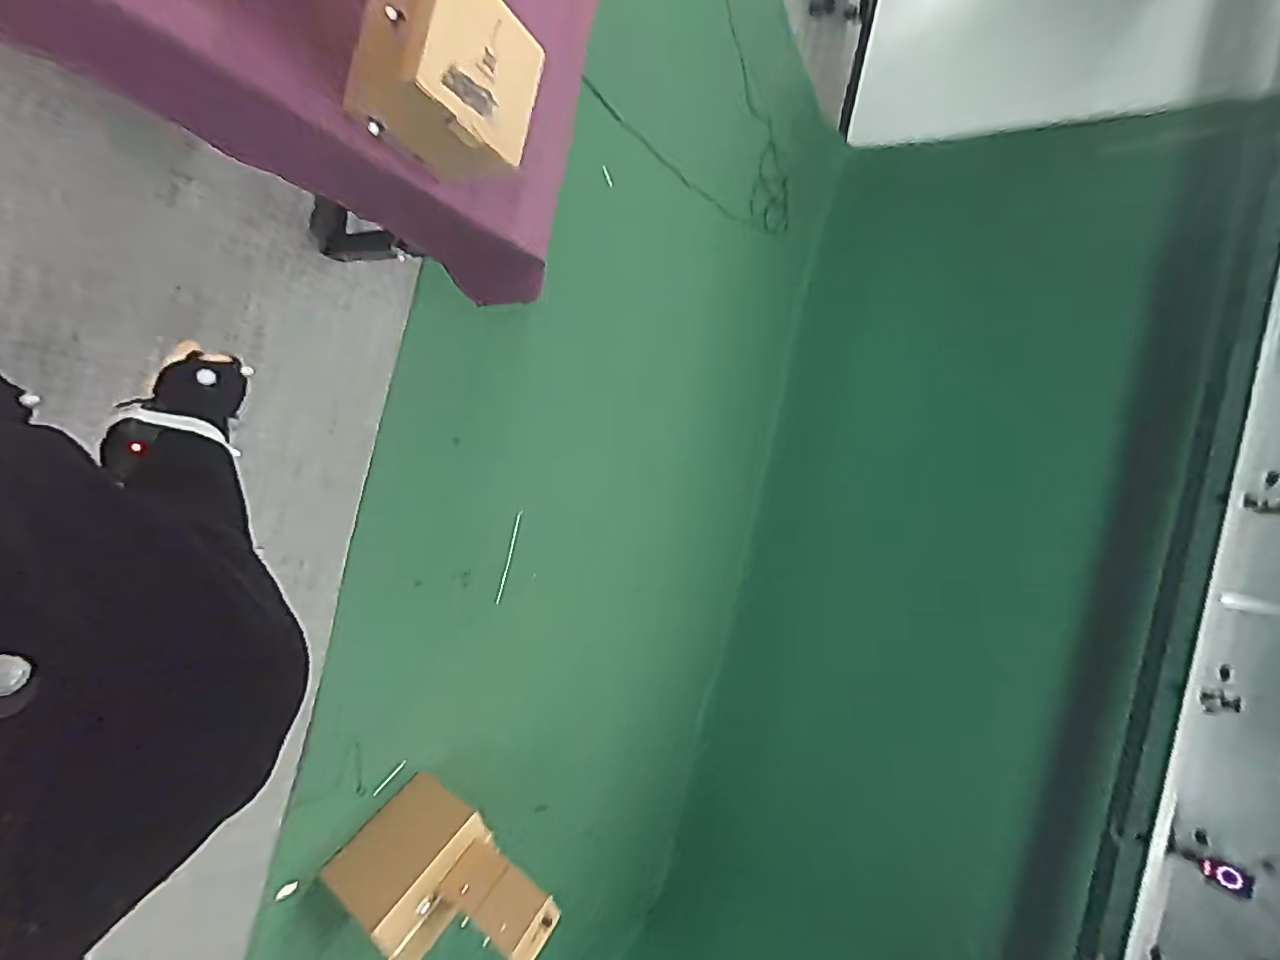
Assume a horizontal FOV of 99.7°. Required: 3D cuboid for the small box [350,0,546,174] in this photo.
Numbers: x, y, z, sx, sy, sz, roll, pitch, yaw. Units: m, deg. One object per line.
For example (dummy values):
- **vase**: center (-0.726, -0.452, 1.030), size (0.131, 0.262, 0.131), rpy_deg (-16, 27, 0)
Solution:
- **small box**: center (-0.260, -0.548, 0.732), size (0.168, 0.176, 0.179), rpy_deg (16, 87, -58)
